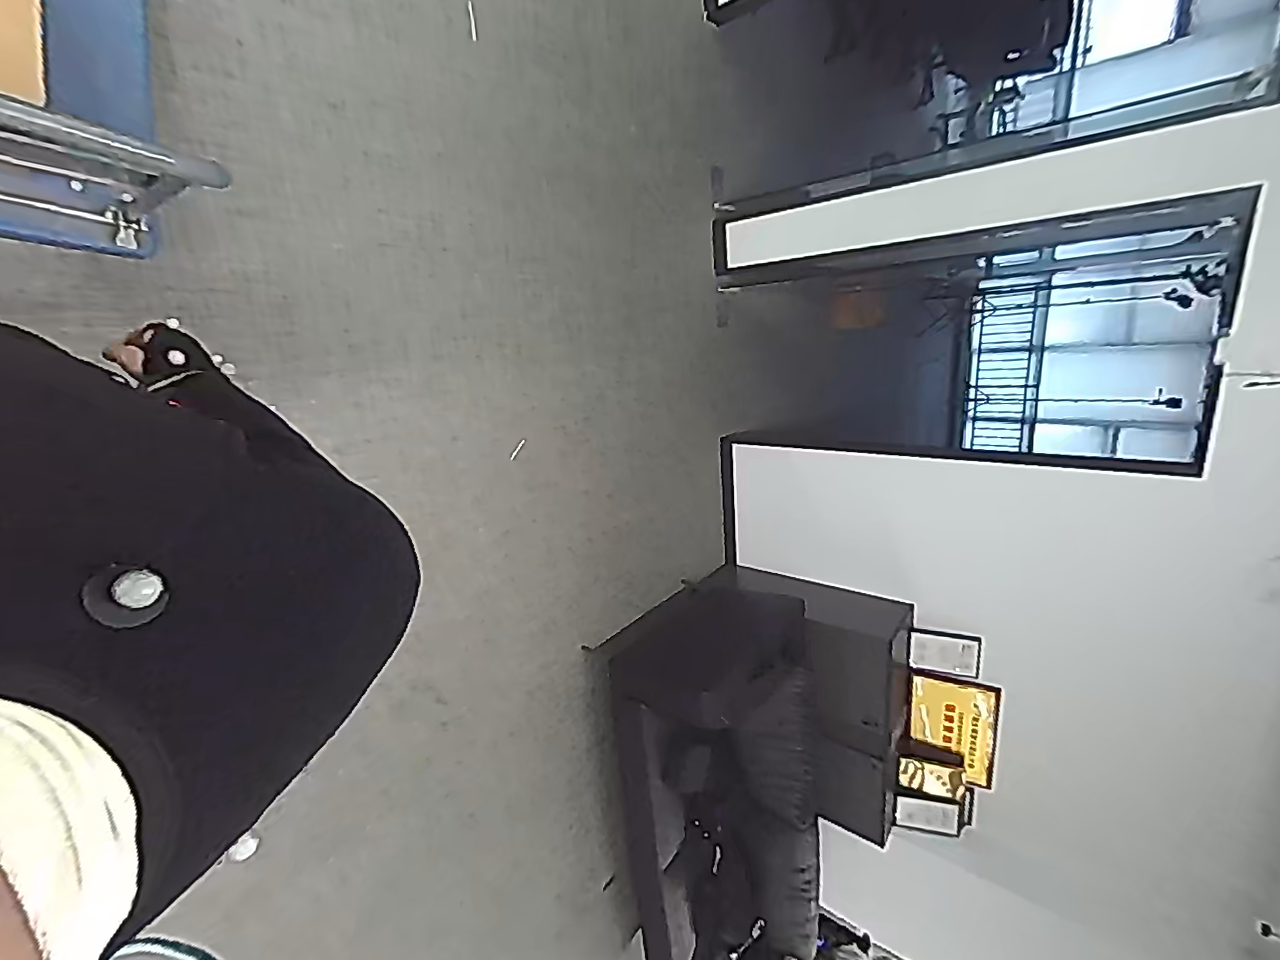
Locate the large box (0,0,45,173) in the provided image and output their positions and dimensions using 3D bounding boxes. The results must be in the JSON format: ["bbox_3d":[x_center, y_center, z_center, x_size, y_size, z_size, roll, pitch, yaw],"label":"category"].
[{"bbox_3d":[-1.067,-0.716,0.736,0.320,0.320,0.408,-5,99,-51],"label":"large box"}]
